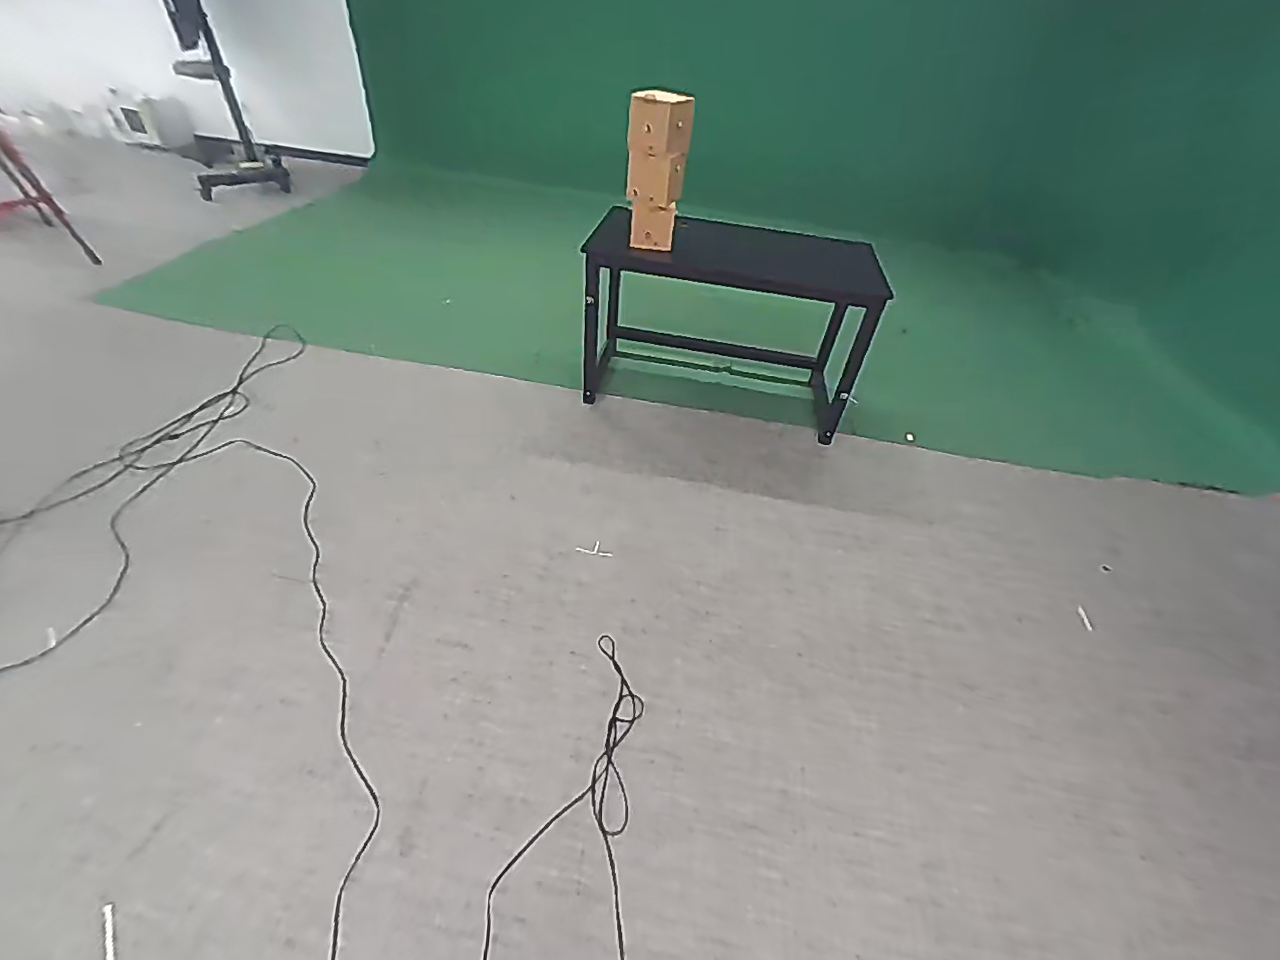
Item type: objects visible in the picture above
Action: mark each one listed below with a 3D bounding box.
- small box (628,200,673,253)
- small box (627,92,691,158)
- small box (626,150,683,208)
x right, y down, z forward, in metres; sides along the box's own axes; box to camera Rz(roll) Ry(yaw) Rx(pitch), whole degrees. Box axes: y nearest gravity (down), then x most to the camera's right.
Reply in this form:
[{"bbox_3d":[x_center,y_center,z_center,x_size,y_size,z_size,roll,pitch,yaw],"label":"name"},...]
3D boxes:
[{"bbox_3d":[0.041,-1.038,2.176,0.168,0.176,0.179,5,43,-3],"label":"small box"},{"bbox_3d":[0.066,-1.285,1.961,0.168,0.176,0.179,28,47,20],"label":"small box"},{"bbox_3d":[0.052,-1.160,2.066,0.168,0.176,0.179,20,43,13],"label":"small box"}]
